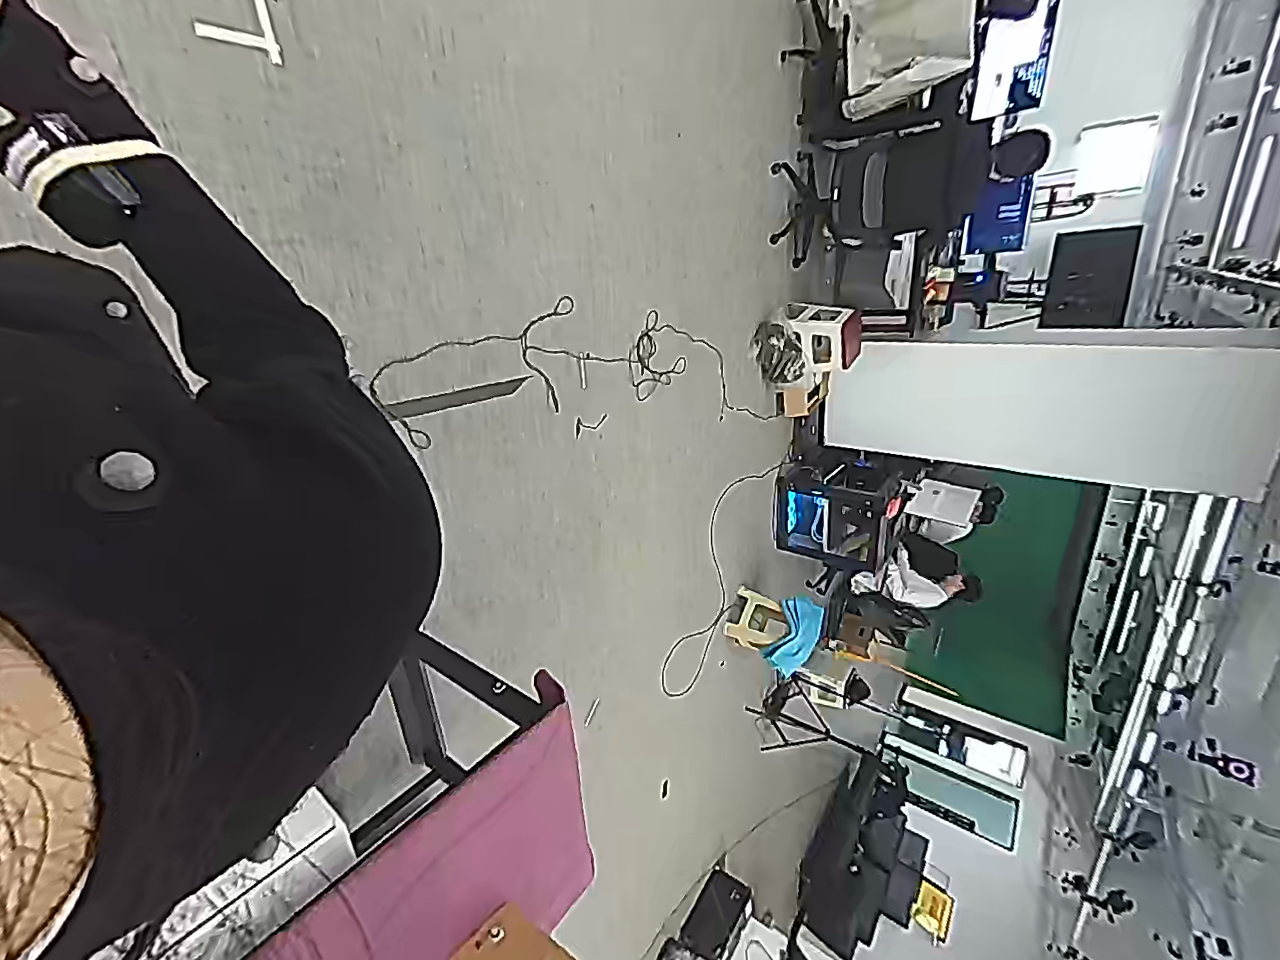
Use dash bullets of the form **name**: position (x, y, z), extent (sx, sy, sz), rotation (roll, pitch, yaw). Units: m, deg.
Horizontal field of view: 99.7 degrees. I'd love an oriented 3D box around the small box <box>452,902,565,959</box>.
- **small box**: position (-0.275, 1.056, 1.140), extent (0.168, 0.176, 0.179), rotation (-20, 113, -50)
